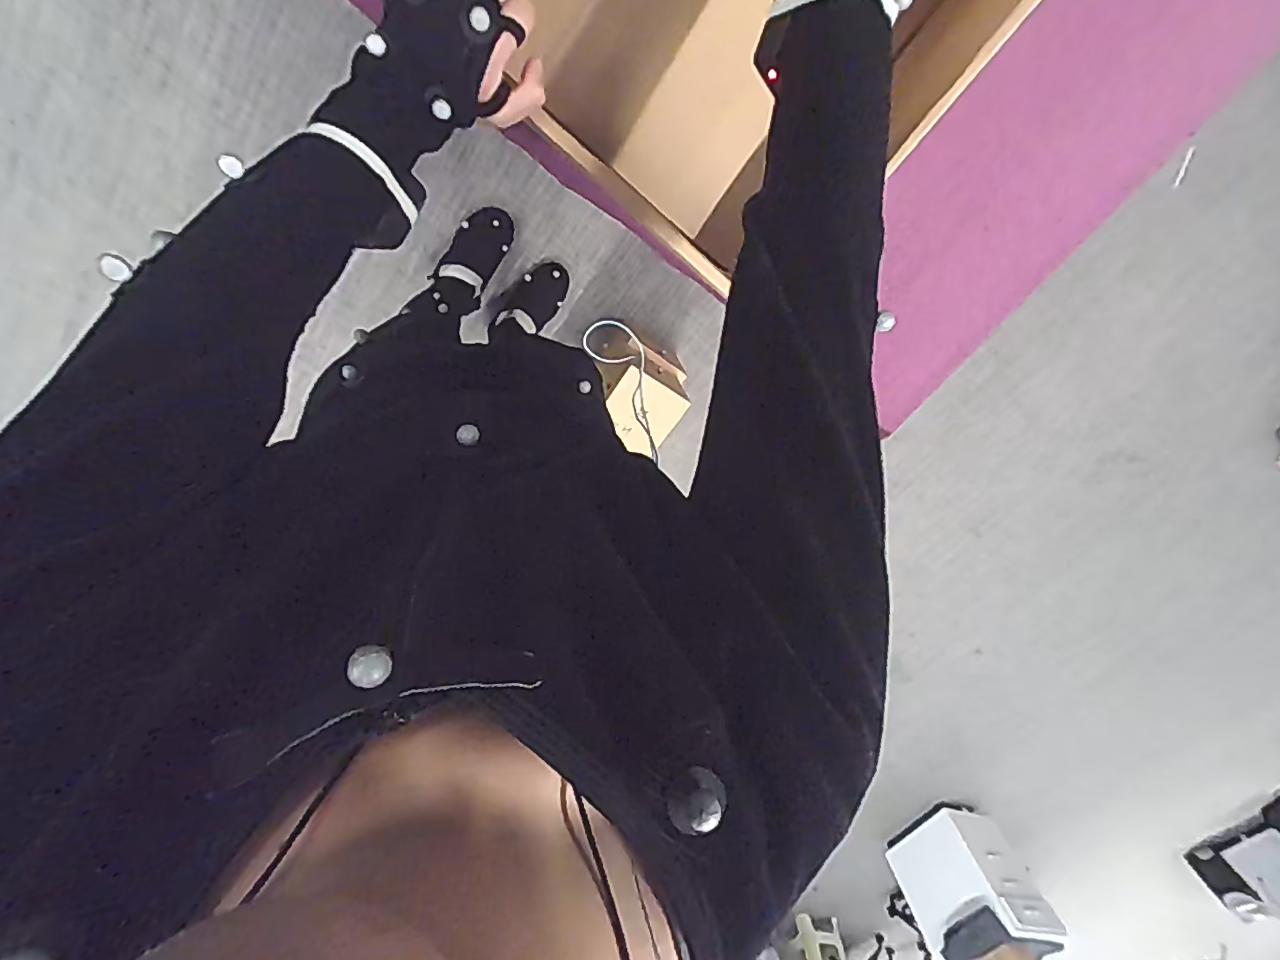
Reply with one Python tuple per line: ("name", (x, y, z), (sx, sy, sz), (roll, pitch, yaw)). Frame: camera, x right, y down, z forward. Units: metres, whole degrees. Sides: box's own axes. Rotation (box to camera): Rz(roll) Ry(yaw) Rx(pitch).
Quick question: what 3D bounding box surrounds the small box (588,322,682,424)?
("small box", (-0.019, -0.281, 1.392), (0.179, 0.176, 0.168), (30, 112, -23))
